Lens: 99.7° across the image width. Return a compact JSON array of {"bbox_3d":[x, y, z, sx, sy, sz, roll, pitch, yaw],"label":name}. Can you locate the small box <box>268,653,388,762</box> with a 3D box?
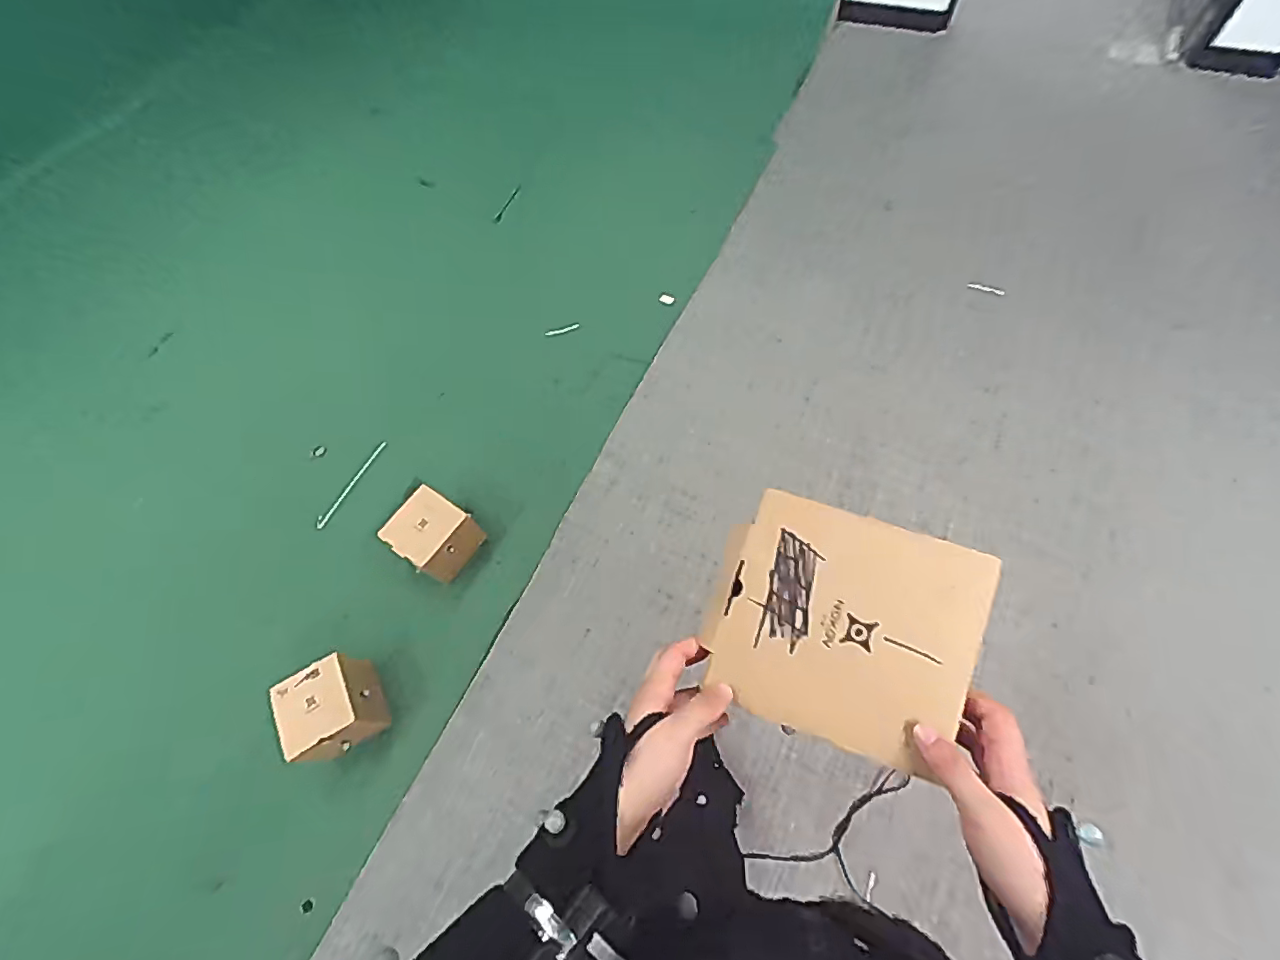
[{"bbox_3d":[-0.727,0.536,1.276,0.168,0.176,0.179,-28,66,-9],"label":"small box"}]

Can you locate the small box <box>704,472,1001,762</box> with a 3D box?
[{"bbox_3d":[0.165,0.108,0.473,0.179,0.176,0.168,17,84,11],"label":"small box"}]

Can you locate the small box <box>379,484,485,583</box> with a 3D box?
[{"bbox_3d":[-0.547,0.150,1.450,0.168,0.176,0.179,31,69,17],"label":"small box"}]
